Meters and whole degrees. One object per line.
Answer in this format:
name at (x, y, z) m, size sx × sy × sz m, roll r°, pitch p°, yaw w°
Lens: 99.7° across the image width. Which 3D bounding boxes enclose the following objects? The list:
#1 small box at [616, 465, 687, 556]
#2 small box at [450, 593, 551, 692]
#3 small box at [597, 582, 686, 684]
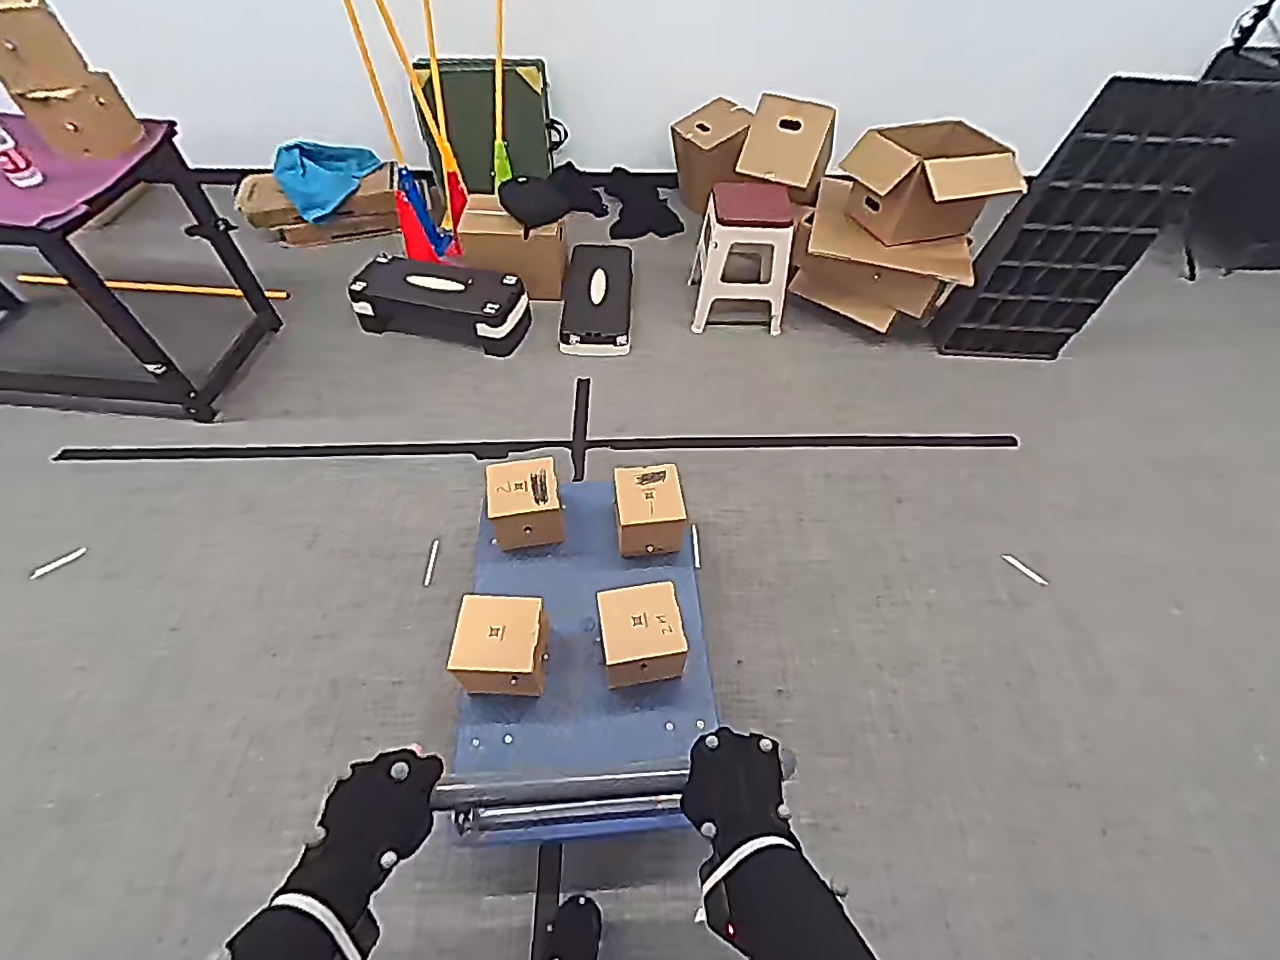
small box at (0.023, 0.083, 1.441) m, size 0.168 × 0.176 × 0.179 m, roll -5°, pitch 55°, yaw -6°
small box at (-0.305, 0.369, 1.218) m, size 0.179 × 0.176 × 0.168 m, roll 3°, pitch 53°, yaw -1°
small box at (0.001, 0.354, 1.238) m, size 0.179 × 0.176 × 0.168 m, roll -7°, pitch 54°, yaw -7°
